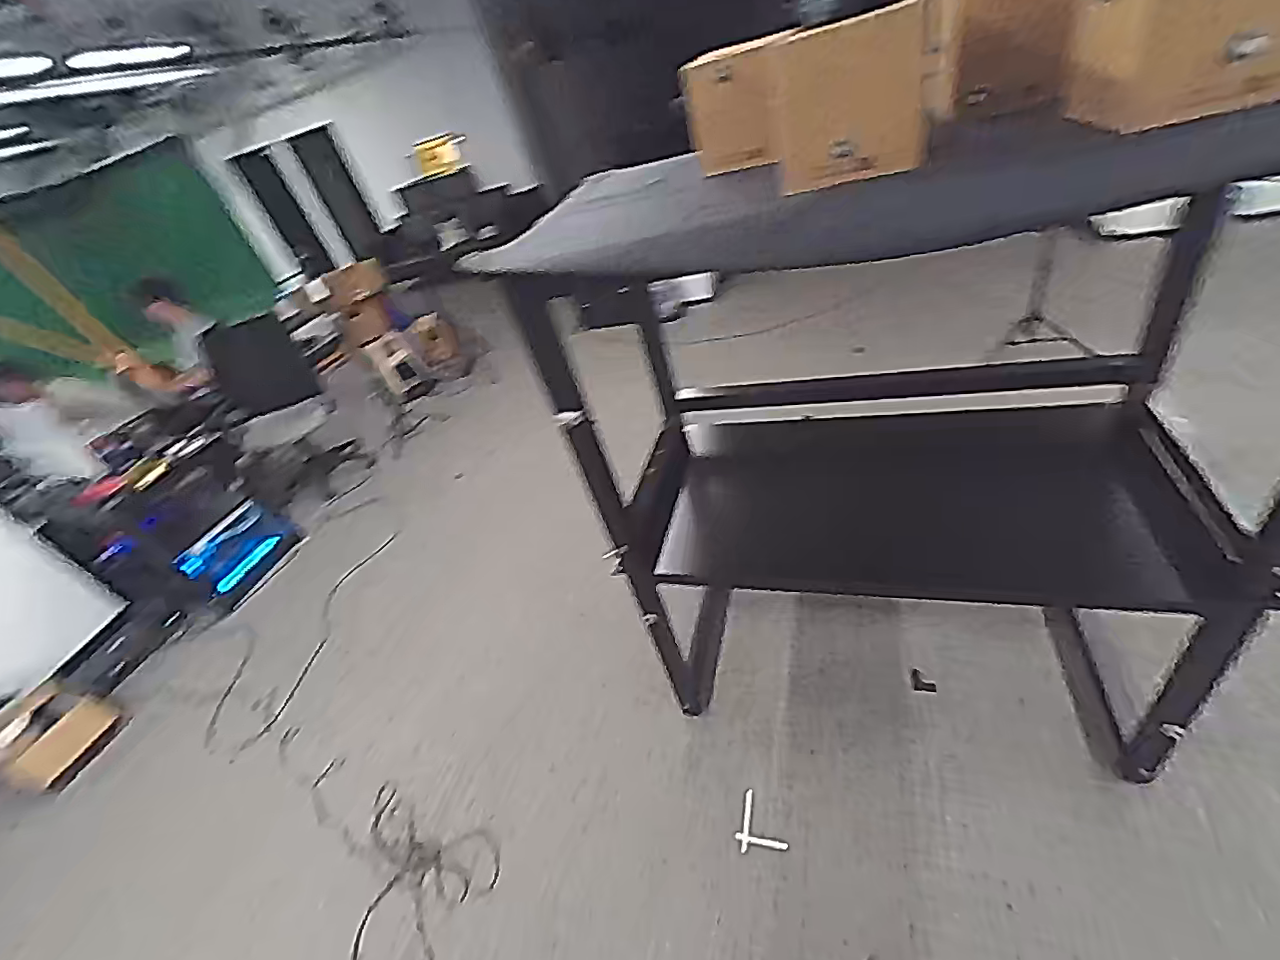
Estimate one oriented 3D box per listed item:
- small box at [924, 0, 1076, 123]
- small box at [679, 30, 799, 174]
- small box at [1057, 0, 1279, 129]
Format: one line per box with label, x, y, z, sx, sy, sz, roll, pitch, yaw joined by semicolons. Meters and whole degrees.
small box;0.528;-0.654;0.802;0.168;0.176;0.179;-3;39;20
small box;0.185;-0.666;0.961;0.168;0.176;0.179;1;41;26
small box;0.574;-0.489;0.567;0.168;0.176;0.179;-5;37;19
